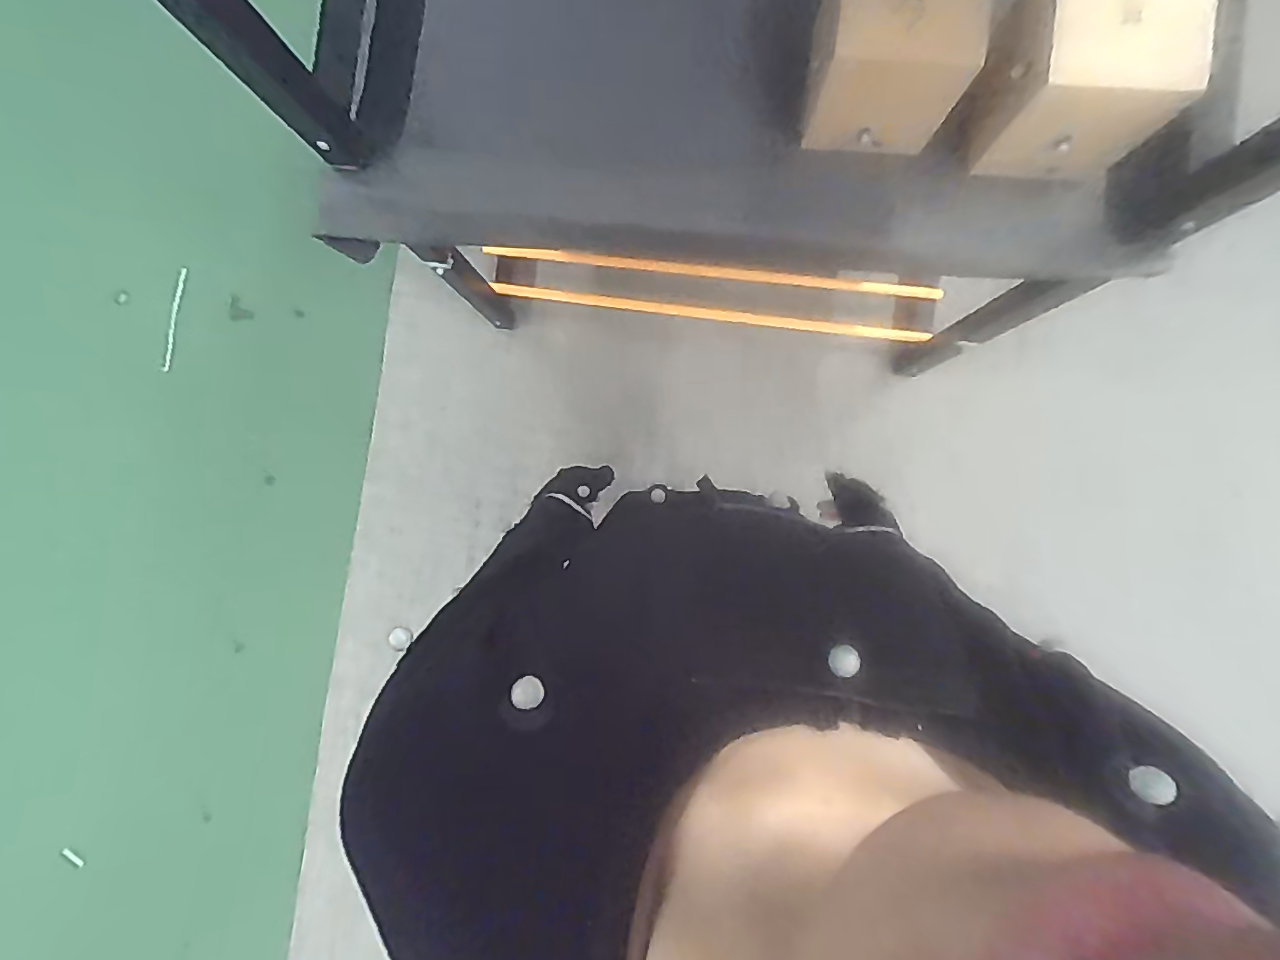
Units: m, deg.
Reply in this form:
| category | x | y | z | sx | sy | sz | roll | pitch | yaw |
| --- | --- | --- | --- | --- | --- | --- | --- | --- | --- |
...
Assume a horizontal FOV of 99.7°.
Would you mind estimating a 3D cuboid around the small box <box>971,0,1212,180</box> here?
| category | x | y | z | sx | sy | sz | roll | pitch | yaw |
| --- | --- | --- | --- | --- | --- | --- | --- | --- | --- |
| small box | 0.541 | -0.504 | 0.671 | 0.168 | 0.176 | 0.179 | 6 | 88 | 4 |
